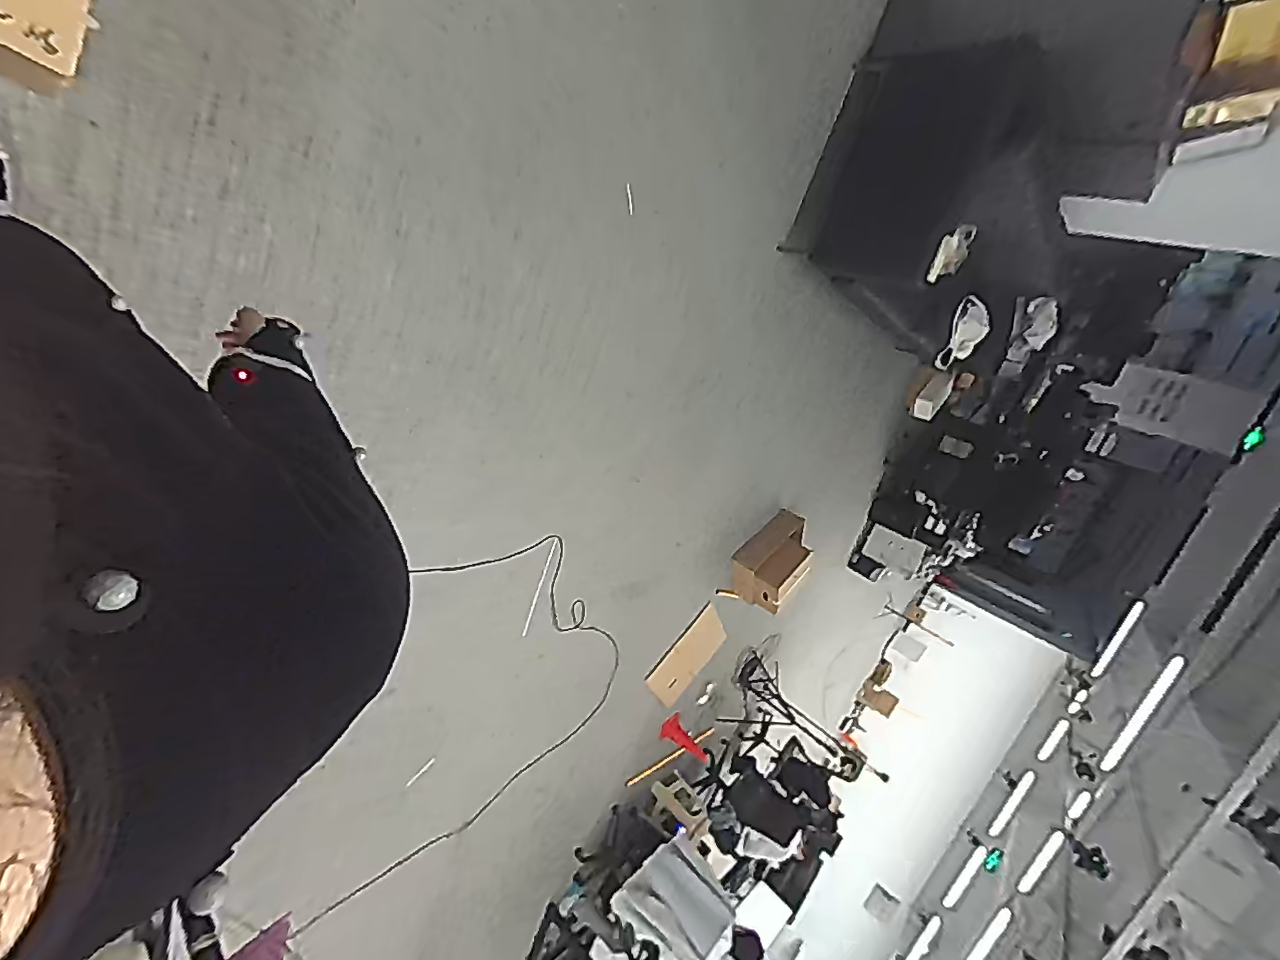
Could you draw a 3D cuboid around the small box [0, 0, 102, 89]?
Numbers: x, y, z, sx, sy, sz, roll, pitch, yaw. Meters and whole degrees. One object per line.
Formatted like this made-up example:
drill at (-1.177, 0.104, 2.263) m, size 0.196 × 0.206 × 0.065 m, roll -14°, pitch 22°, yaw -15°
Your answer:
small box at (-0.722, -0.575, 0.597) m, size 0.168 × 0.176 × 0.179 m, roll 12°, pitch 102°, yaw -53°
